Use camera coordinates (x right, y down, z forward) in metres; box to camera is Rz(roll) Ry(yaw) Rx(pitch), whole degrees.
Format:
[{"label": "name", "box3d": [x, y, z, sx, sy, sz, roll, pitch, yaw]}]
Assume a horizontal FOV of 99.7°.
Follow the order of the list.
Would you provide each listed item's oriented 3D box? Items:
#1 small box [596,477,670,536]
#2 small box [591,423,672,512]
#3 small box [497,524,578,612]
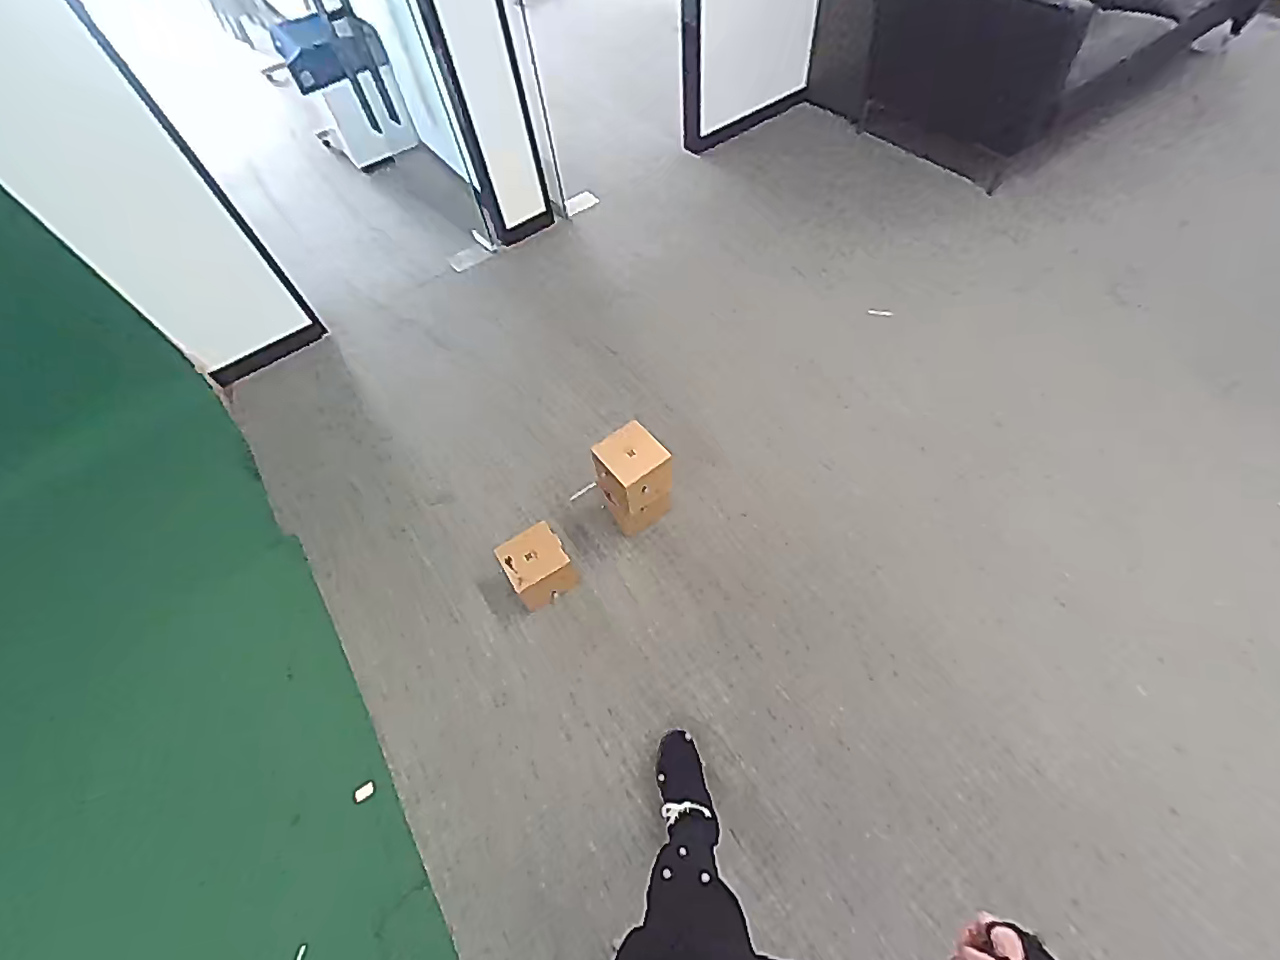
[{"label": "small box", "box3d": [-0.016, 0.051, 1.736, 0.179, 0.176, 0.168, -31, 60, -14]}, {"label": "small box", "box3d": [-0.017, -0.029, 1.595, 0.168, 0.176, 0.179, -35, 60, -16]}, {"label": "small box", "box3d": [-0.301, 0.268, 1.629, 0.179, 0.176, 0.168, -30, 59, -13]}]
